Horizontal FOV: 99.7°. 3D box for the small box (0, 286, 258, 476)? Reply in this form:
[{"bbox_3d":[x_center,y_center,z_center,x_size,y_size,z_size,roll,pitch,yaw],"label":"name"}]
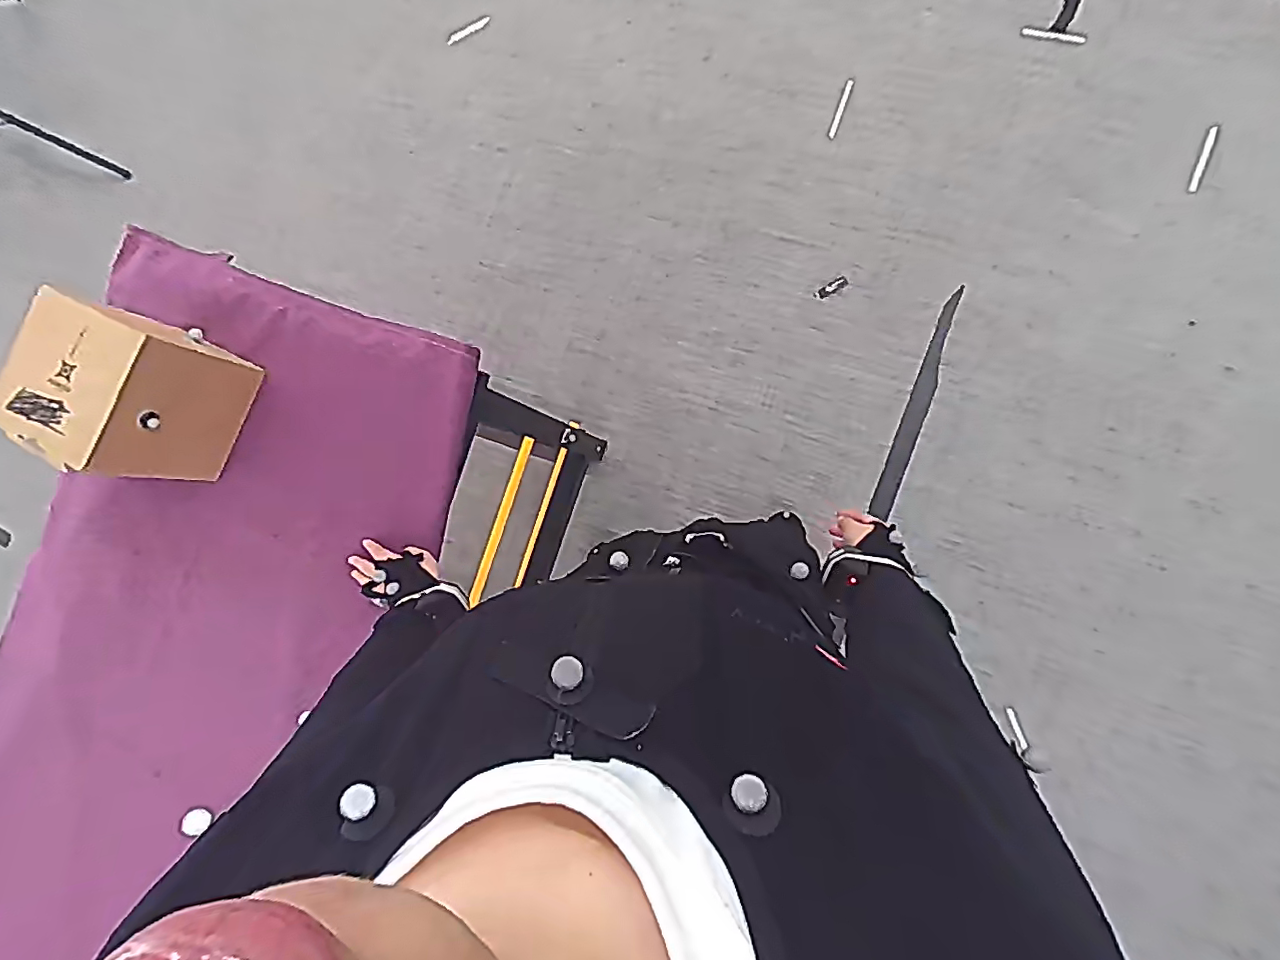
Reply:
[{"bbox_3d":[-0.655,-0.115,0.707,0.168,0.176,0.179,25,90,9],"label":"small box"}]
